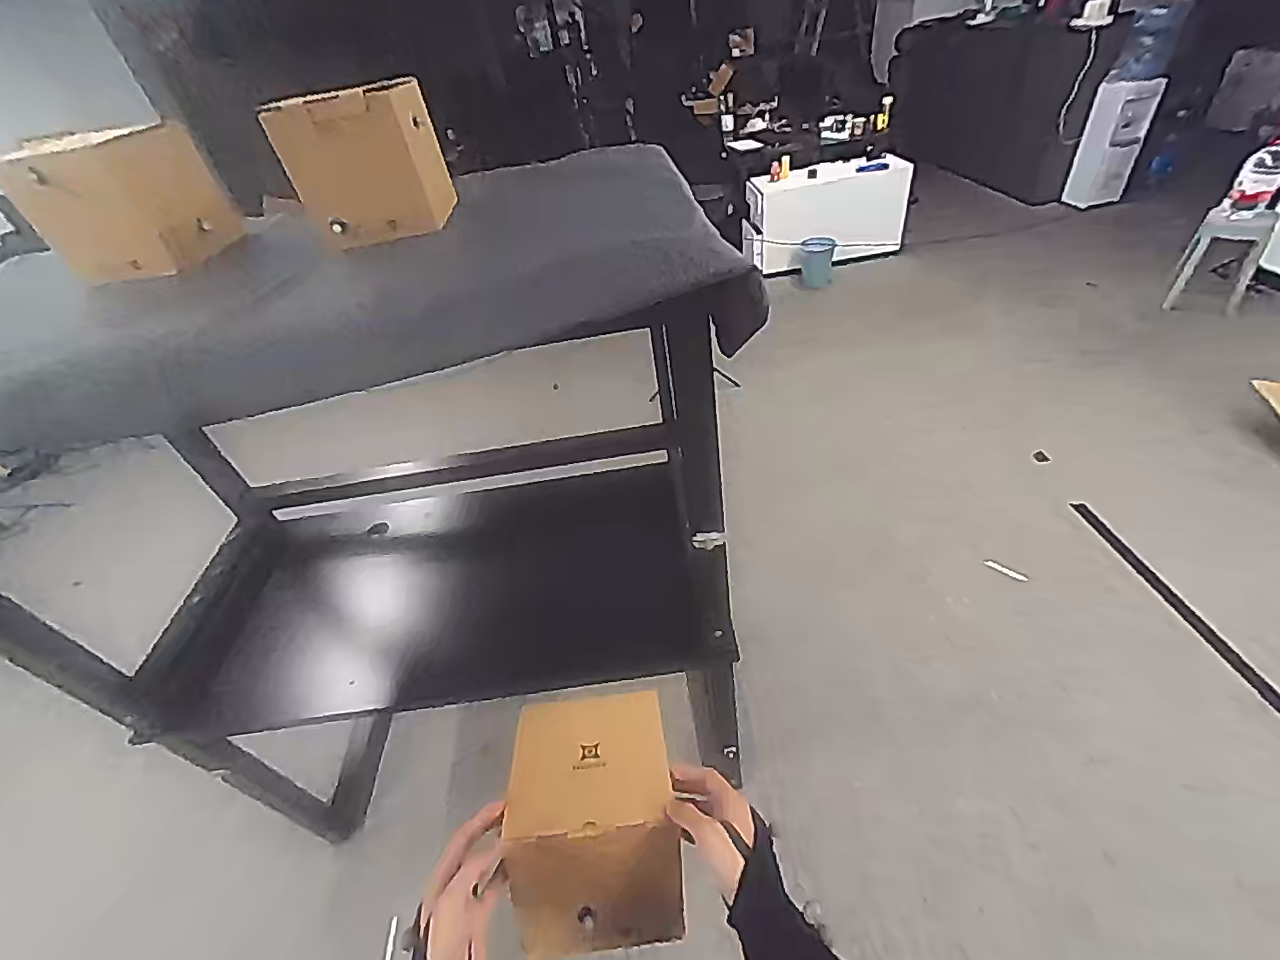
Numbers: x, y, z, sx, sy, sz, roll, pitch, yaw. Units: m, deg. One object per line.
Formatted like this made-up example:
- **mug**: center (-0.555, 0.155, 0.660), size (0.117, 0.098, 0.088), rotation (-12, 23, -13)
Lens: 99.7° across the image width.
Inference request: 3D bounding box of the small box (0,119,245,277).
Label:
- **small box**: center (-0.747, -0.422, 0.813), size (0.168, 0.176, 0.179), rotation (-5, 41, 6)

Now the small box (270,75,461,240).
- **small box**: center (-0.373, -0.458, 0.777), size (0.168, 0.176, 0.179), rotation (-10, 40, 0)
